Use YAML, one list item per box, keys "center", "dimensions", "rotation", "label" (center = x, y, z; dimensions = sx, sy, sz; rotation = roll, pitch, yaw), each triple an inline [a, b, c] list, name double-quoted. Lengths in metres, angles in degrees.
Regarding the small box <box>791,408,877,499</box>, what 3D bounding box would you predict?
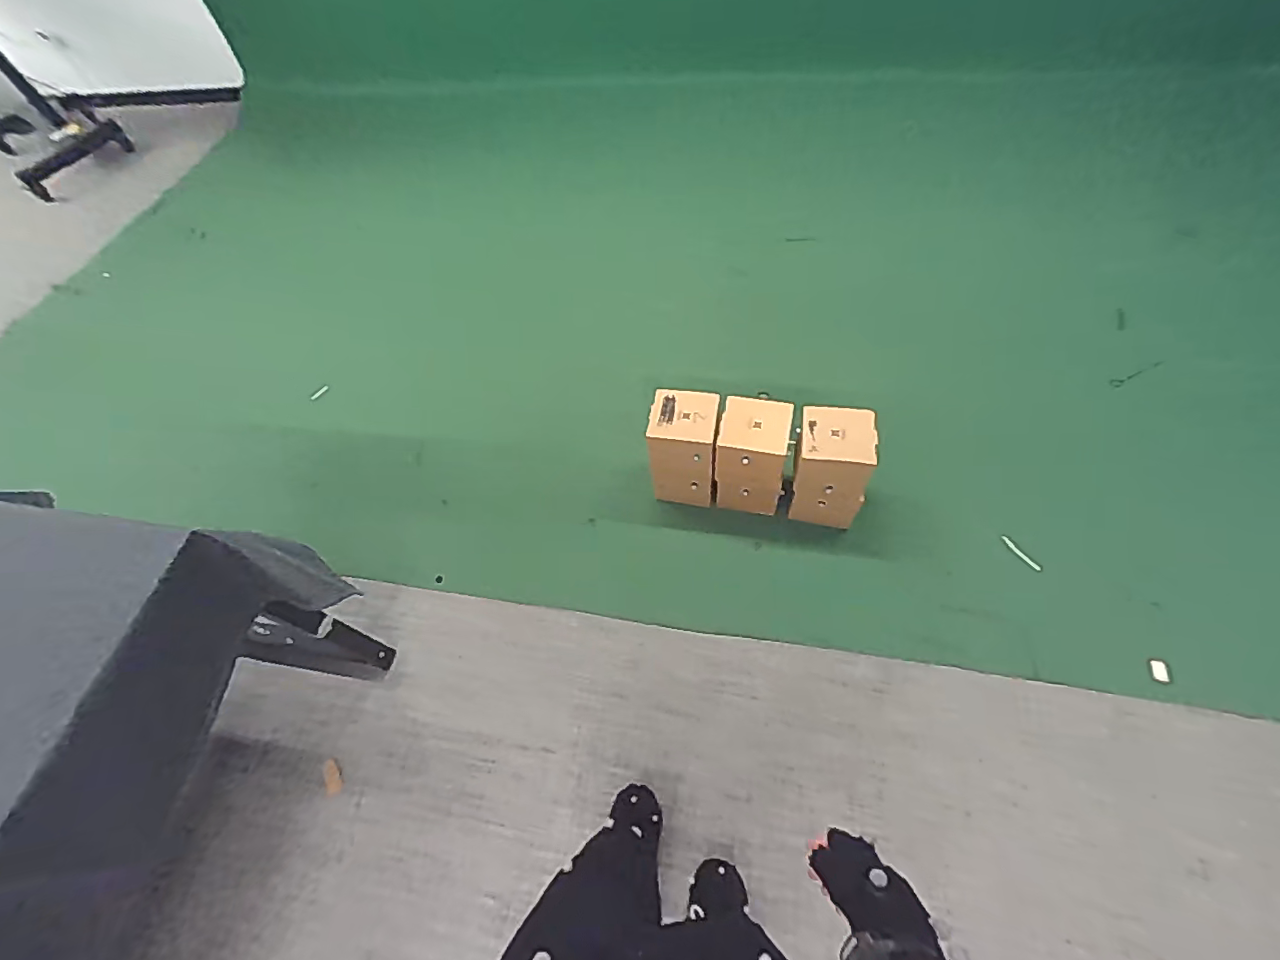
- center: [0.502, -0.064, 1.409]
  dimensions: [0.179, 0.176, 0.168]
  rotation: [7, 59, 10]
  label: "small box"
